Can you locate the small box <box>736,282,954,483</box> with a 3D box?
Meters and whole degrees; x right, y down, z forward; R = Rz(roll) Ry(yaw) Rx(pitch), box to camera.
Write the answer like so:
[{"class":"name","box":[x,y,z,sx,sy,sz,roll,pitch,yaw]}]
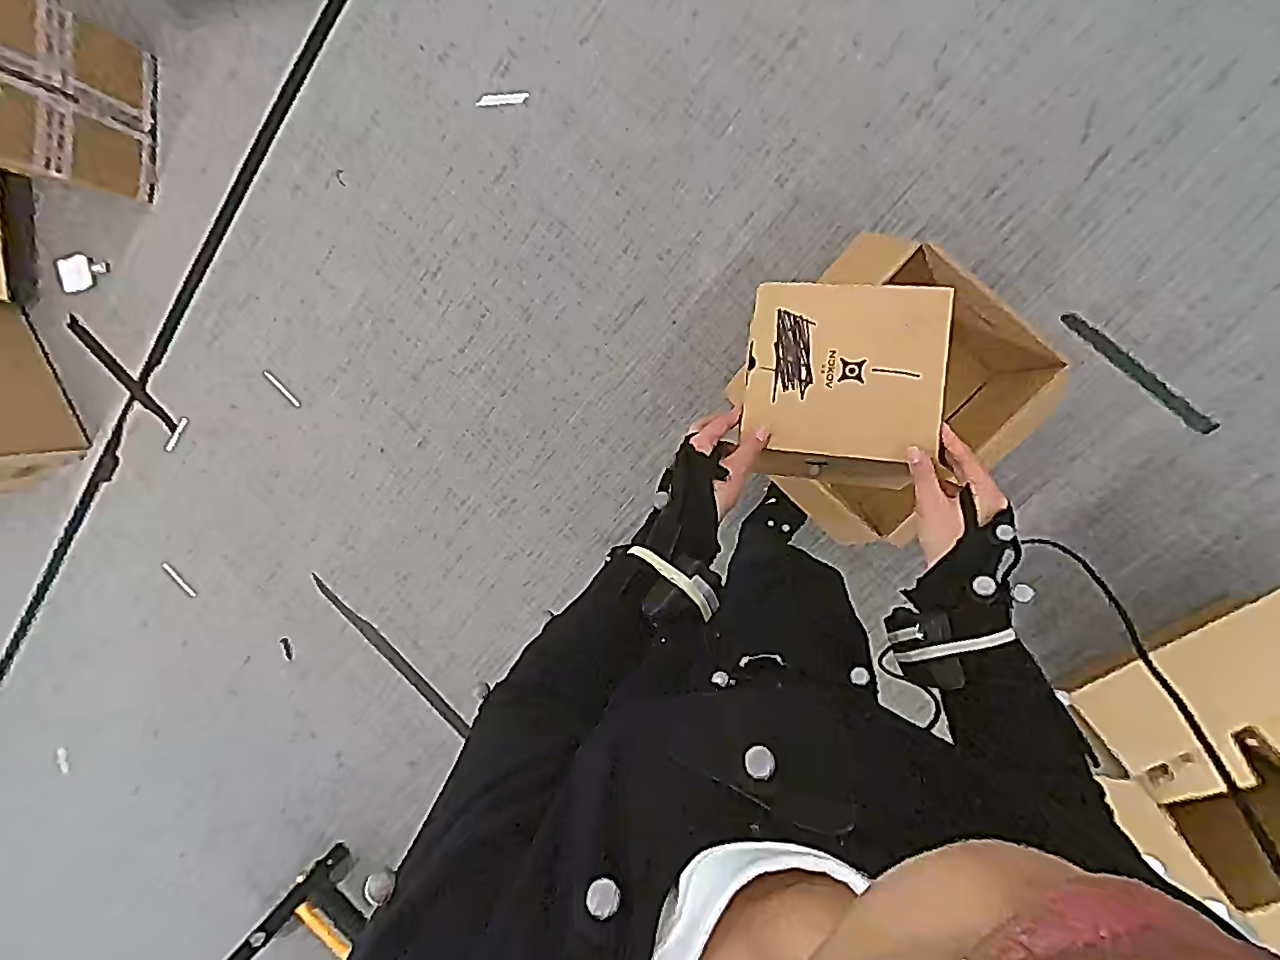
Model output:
[{"class":"small box","box":[0.206,-0.092,0.572,0.179,0.176,0.168,6,85,16]}]
